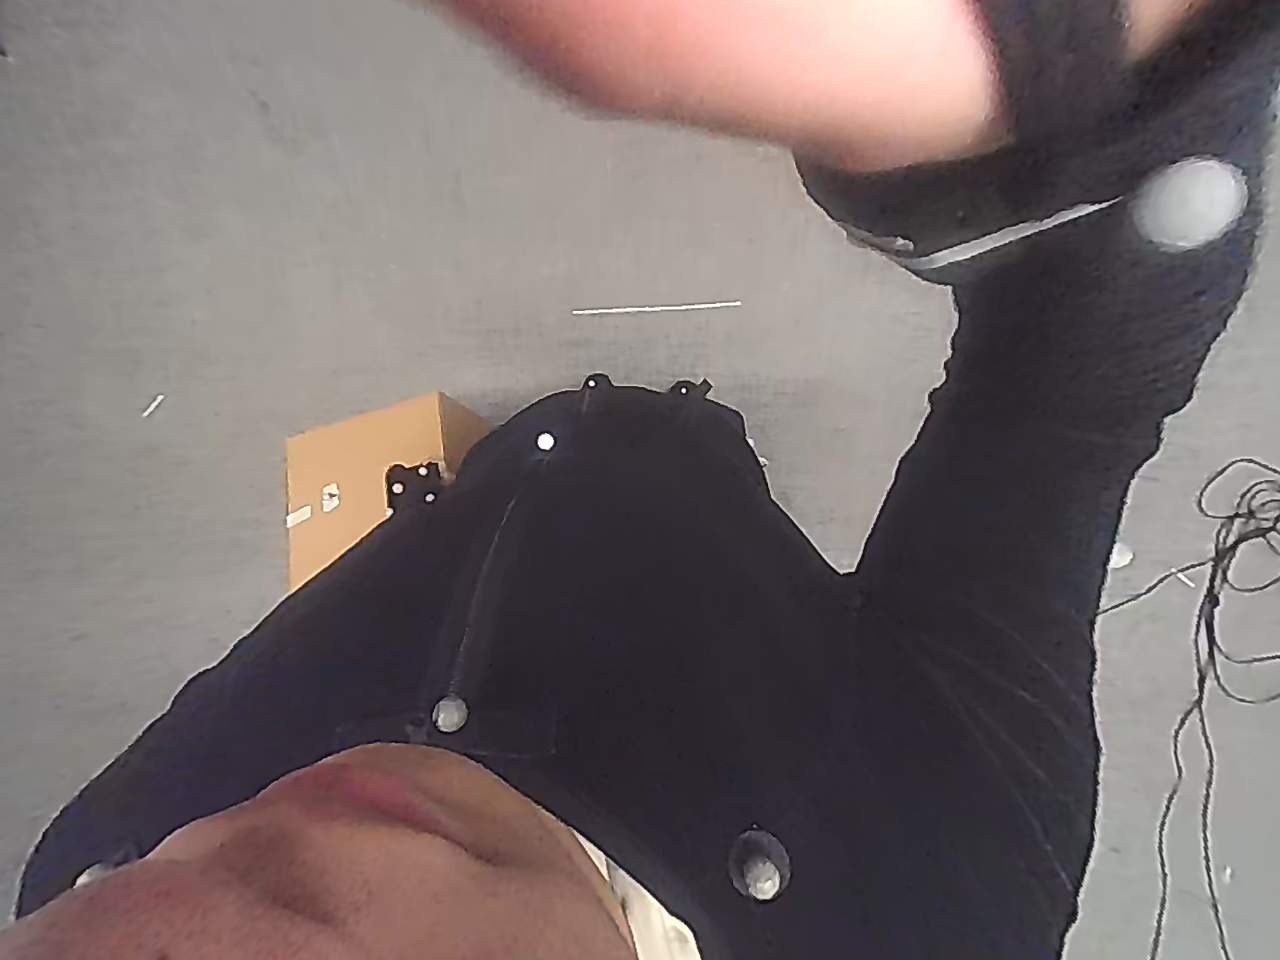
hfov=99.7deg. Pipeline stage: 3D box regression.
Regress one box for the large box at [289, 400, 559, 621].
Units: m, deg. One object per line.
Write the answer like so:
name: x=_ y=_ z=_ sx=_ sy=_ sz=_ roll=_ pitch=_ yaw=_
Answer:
large box: x=-0.401 y=0.086 z=1.075 sx=0.320 sy=0.408 sz=0.320 roll=-15 pitch=75 yaw=10
